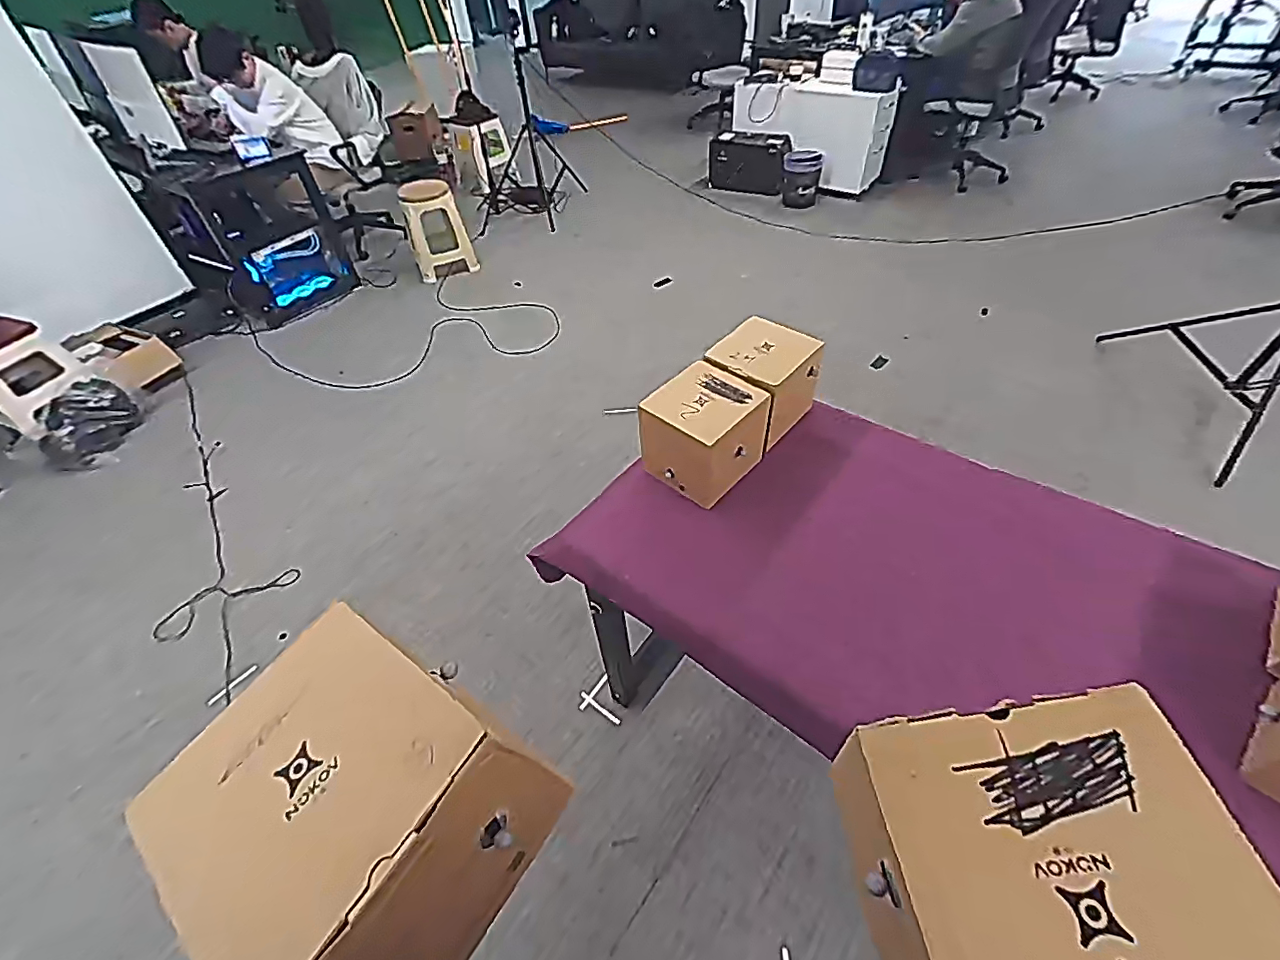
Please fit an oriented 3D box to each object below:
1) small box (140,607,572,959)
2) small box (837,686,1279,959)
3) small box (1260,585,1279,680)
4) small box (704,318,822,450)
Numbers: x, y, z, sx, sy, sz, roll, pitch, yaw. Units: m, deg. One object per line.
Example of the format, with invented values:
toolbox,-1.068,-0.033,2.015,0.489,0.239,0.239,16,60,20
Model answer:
small box,-0.176,0.227,0.382,0.179,0.176,0.168,22,59,31
small box,0.234,0.249,0.332,0.168,0.176,0.179,-11,53,4
small box,0.962,0.196,0.689,0.168,0.176,0.179,32,56,28
small box,0.241,-0.195,1.102,0.168,0.176,0.179,32,58,29
